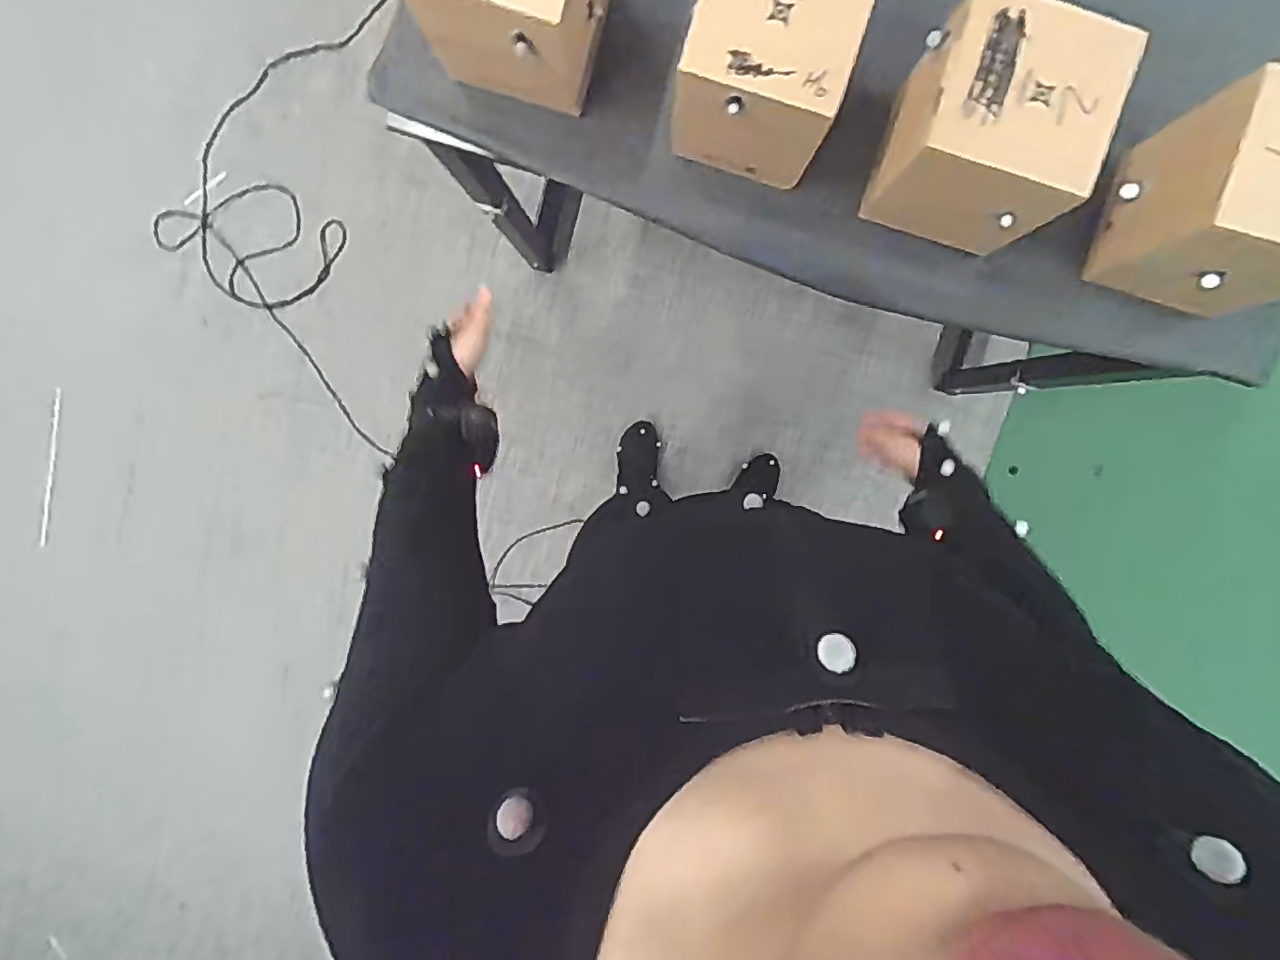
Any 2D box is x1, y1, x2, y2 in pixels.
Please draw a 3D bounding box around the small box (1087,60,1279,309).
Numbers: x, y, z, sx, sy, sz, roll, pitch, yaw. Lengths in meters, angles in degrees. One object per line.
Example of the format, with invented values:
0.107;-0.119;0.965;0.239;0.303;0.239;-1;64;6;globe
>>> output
0.665;-0.304;0.598;0.179;0.176;0.168;18;93;1;small box
